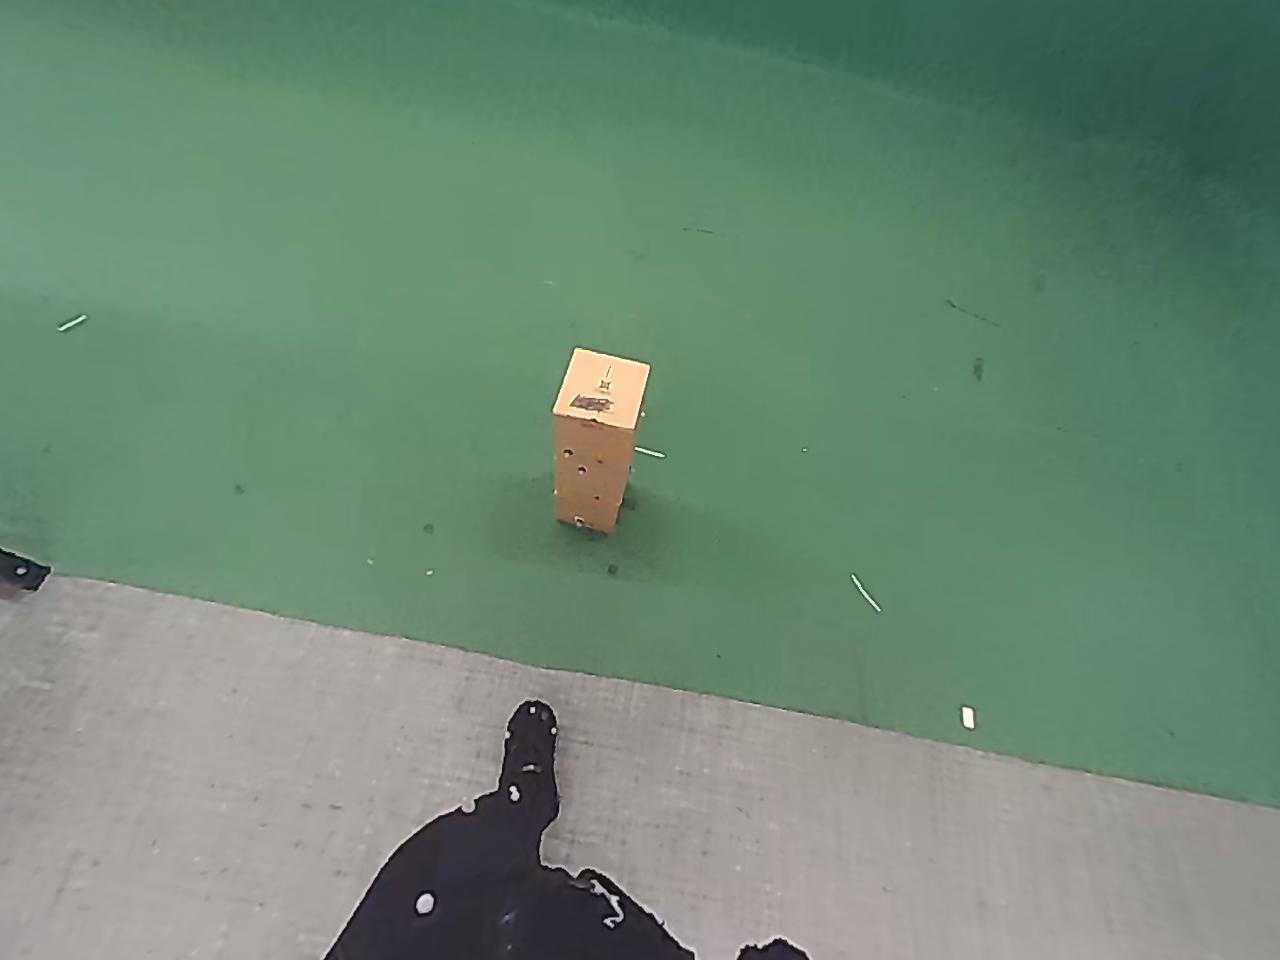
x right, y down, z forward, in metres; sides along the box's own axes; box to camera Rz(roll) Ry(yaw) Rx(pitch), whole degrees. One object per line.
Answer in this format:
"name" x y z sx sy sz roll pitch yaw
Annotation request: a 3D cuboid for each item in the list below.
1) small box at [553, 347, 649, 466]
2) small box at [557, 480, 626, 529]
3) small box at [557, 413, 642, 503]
"small box" -0.084 -0.153 1.176 0.168 0.176 0.179 14 60 0
"small box" -0.123 0.010 1.458 0.168 0.176 0.179 12 63 0
"small box" -0.100 -0.070 1.317 0.168 0.176 0.179 13 60 0
